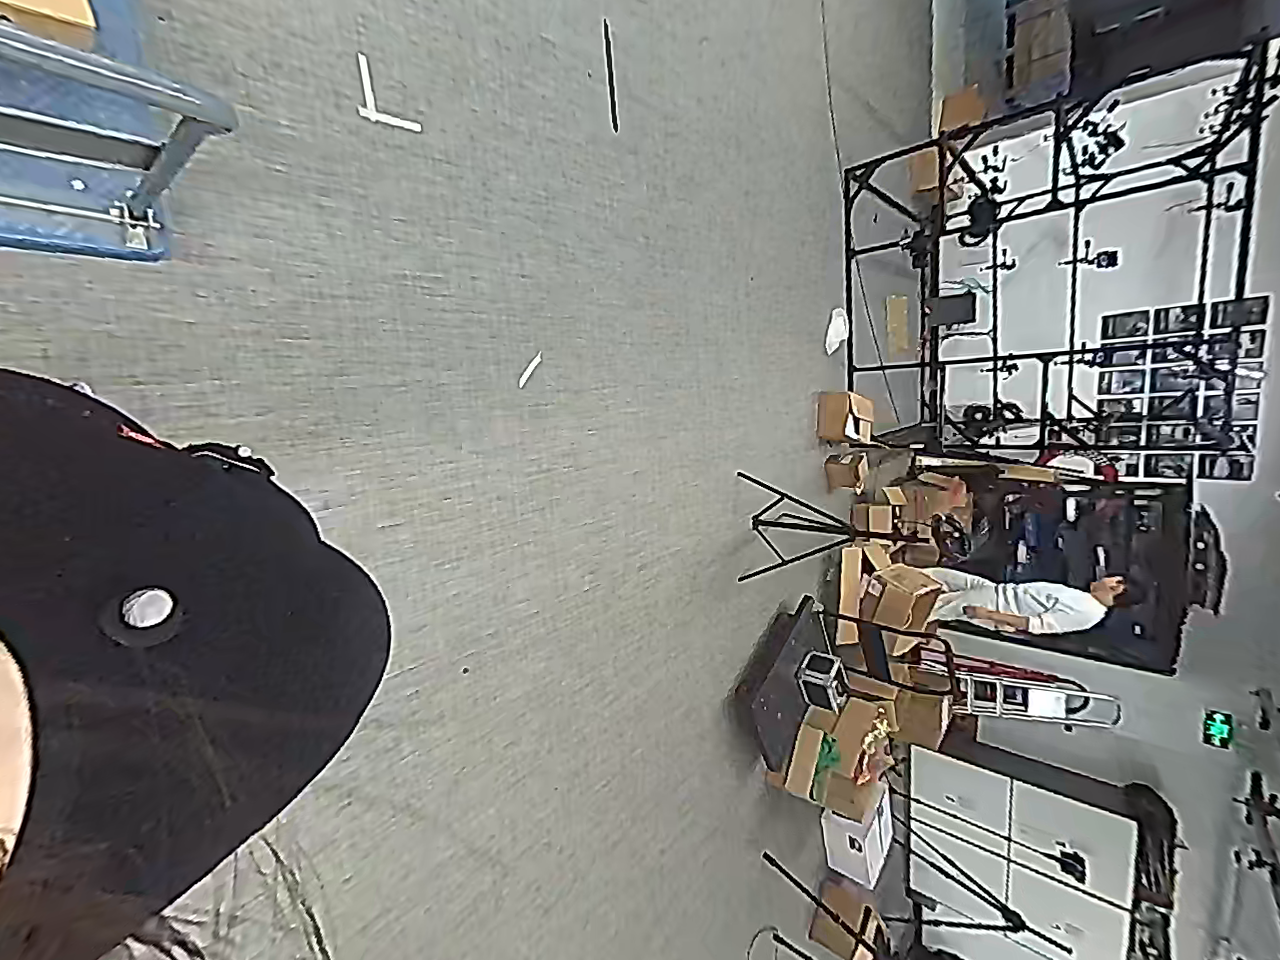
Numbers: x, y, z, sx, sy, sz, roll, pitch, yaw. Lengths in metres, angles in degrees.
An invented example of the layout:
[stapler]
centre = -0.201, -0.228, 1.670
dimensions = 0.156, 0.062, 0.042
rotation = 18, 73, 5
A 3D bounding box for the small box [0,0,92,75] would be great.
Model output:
[small box]
centre = -0.958, -0.745, 0.800
dimensions = 0.179, 0.176, 0.168
rotation = -20, 107, -46
